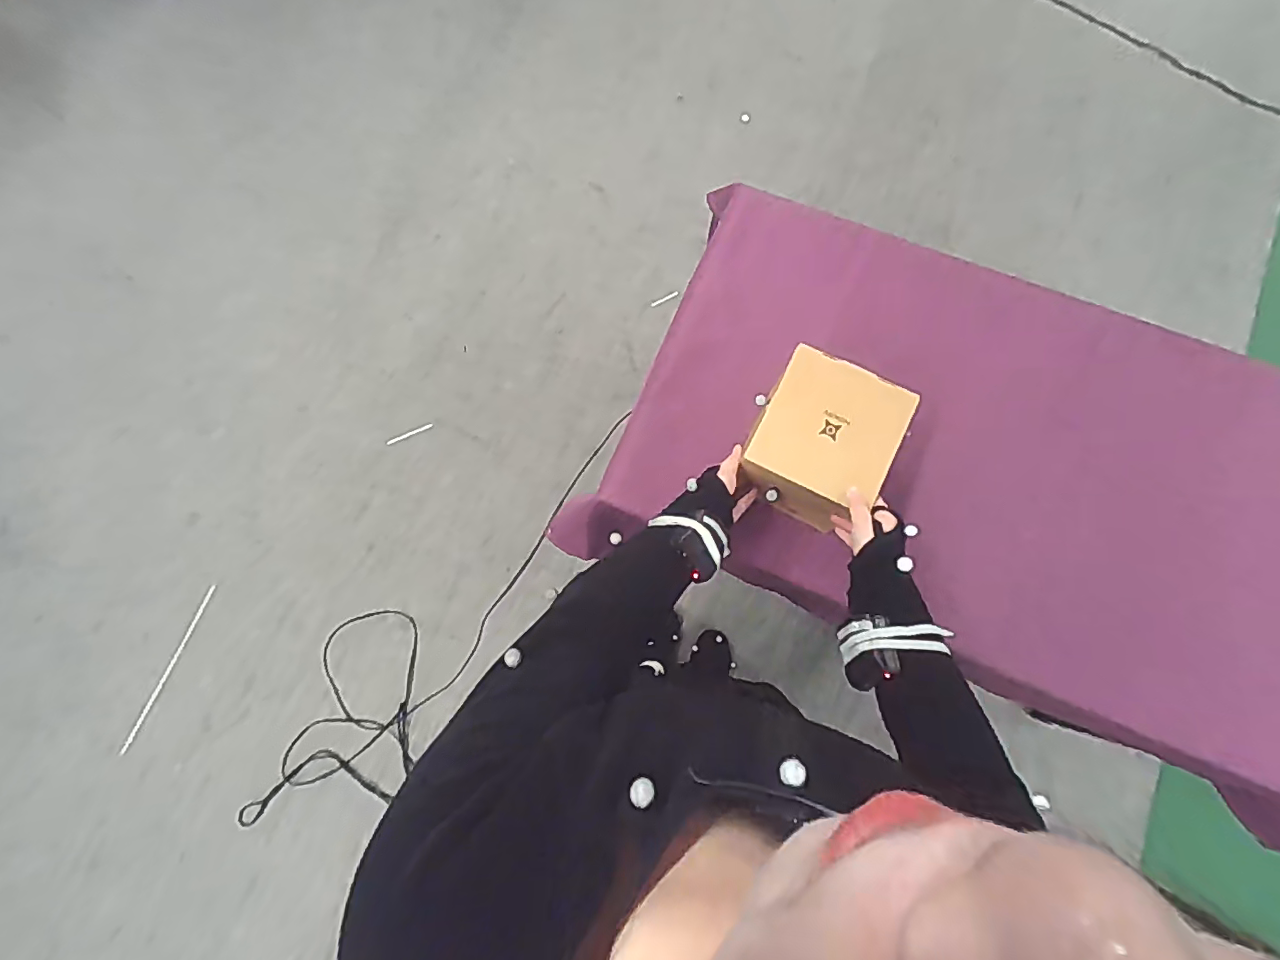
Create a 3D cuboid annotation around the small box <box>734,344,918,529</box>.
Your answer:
[{"bbox_3d":[0.240,-0.048,0.745,0.168,0.176,0.179,26,79,8],"label":"small box"}]
